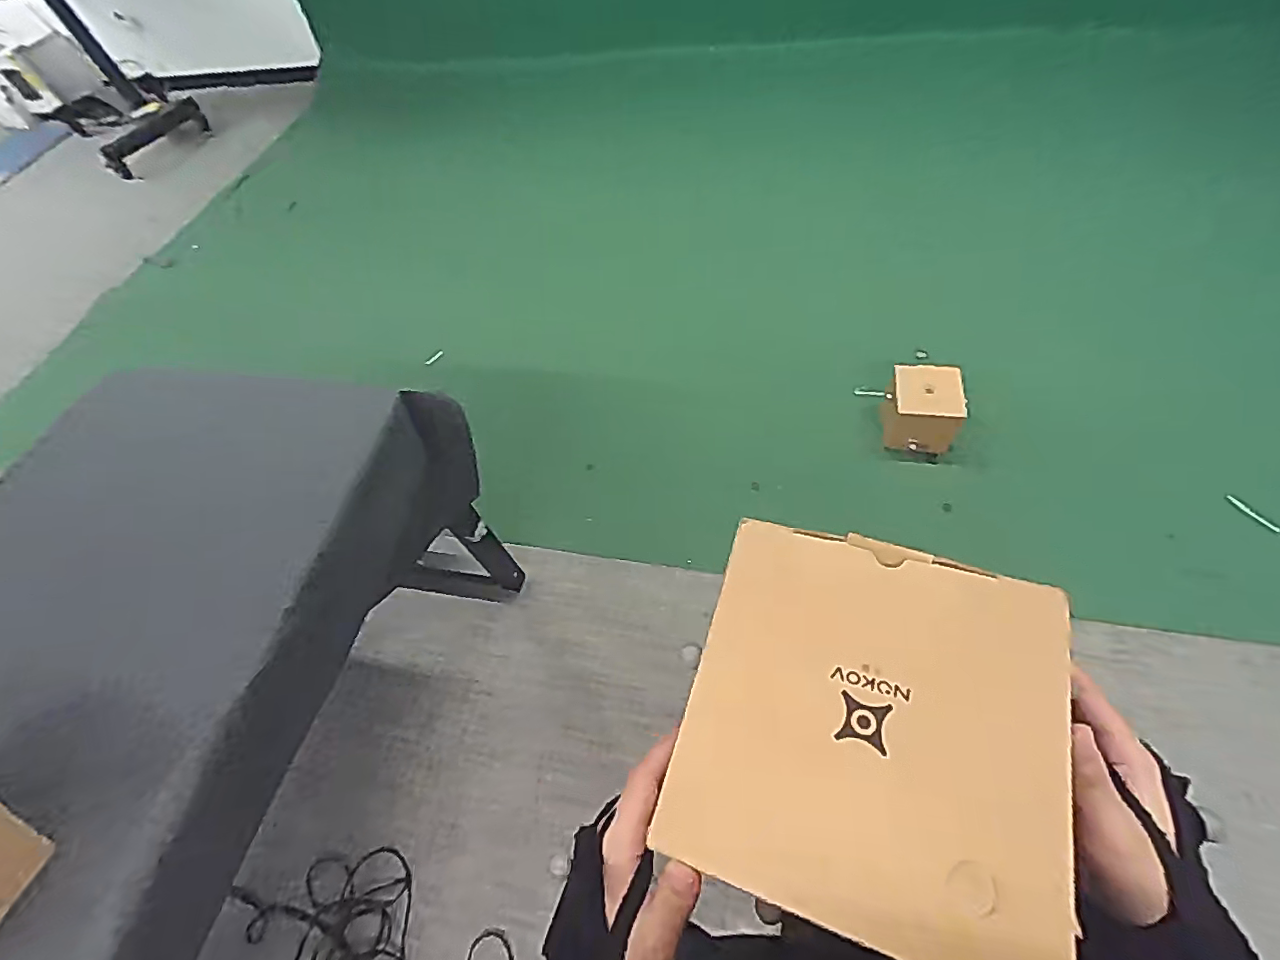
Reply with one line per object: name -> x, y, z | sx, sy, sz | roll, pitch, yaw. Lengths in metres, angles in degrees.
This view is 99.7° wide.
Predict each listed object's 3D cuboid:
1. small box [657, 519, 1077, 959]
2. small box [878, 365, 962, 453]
small box -> 0.126, 0.152, 0.324 | 0.168, 0.176, 0.179 | 13, 62, 19
small box -> 0.774, -0.198, 1.512 | 0.168, 0.176, 0.179 | 5, 59, 12
